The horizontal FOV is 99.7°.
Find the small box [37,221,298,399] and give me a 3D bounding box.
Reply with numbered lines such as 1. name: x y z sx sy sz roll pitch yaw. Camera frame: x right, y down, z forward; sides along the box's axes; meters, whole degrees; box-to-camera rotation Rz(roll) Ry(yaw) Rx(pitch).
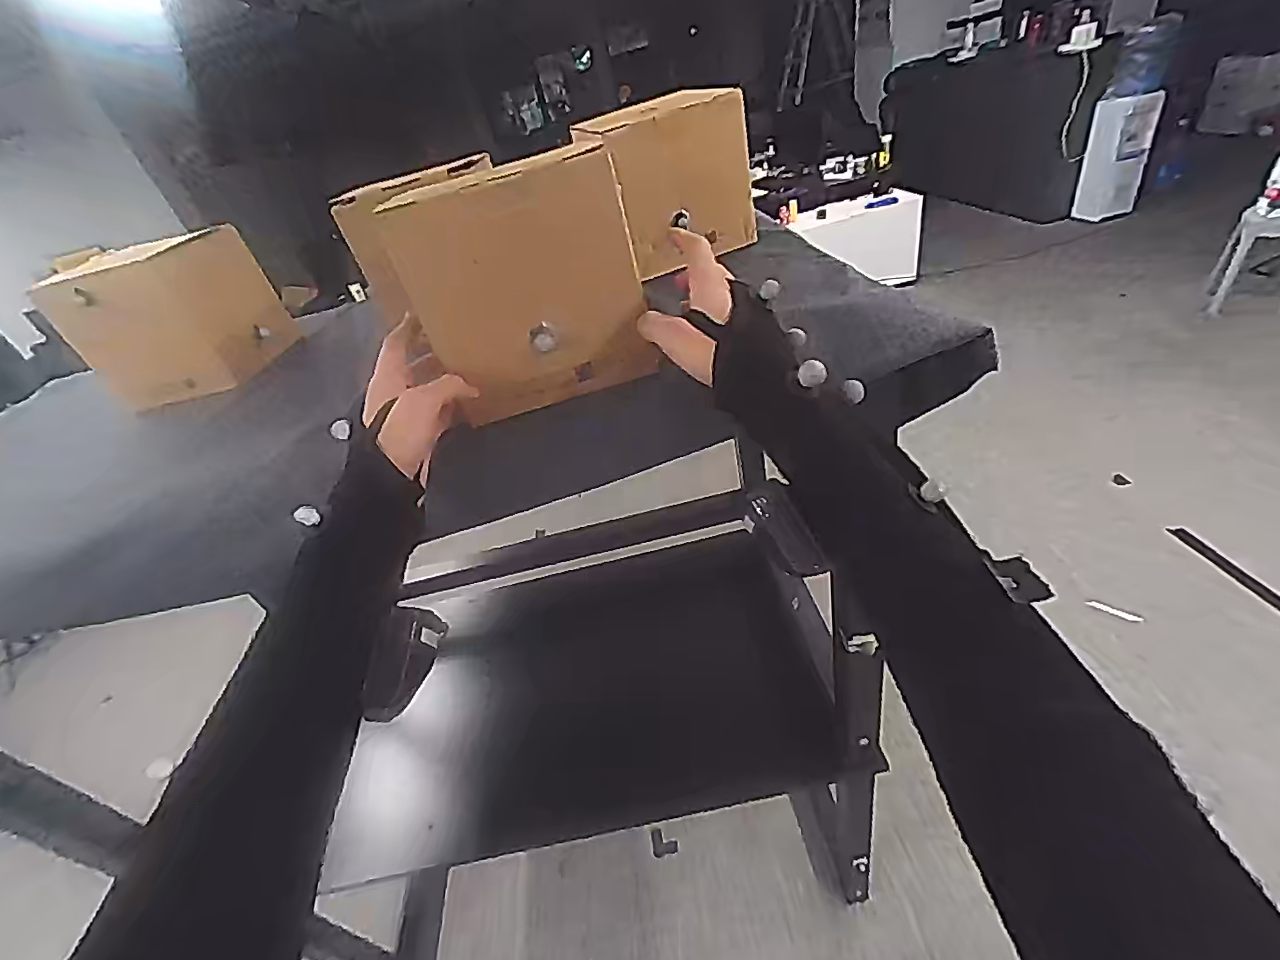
1. small box: -0.610 -0.231 0.734 0.168 0.176 0.179 -11 36 6

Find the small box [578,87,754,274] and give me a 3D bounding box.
1. small box: 0.034 -0.385 0.701 0.168 0.176 0.179 -21 38 -6

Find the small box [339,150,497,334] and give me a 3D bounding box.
1. small box: -0.241 -0.302 0.695 0.168 0.176 0.179 -15 35 1

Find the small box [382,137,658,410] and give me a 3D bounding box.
1. small box: -0.091 -0.183 0.475 0.168 0.176 0.179 -16 34 -1
